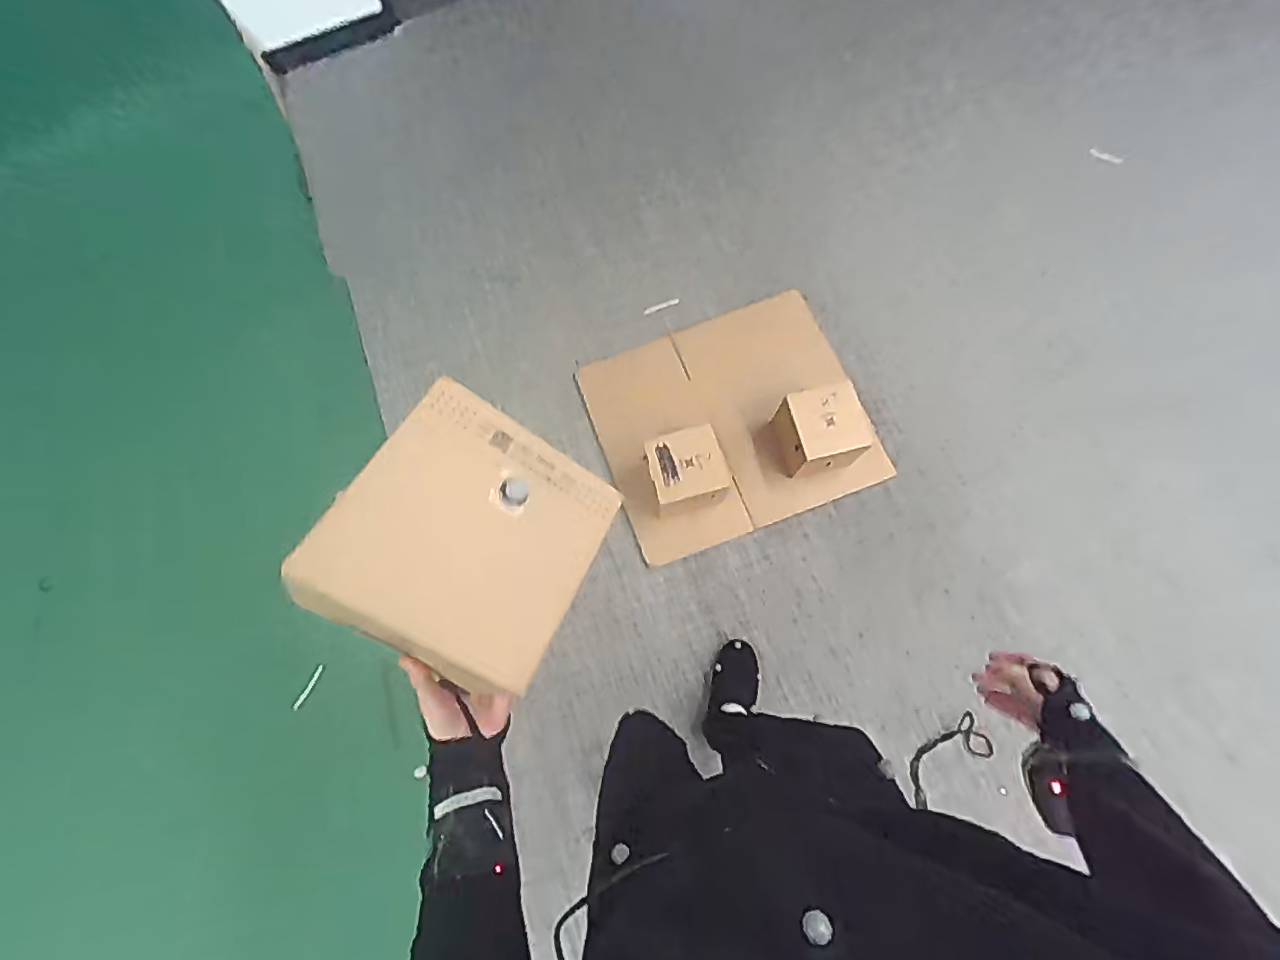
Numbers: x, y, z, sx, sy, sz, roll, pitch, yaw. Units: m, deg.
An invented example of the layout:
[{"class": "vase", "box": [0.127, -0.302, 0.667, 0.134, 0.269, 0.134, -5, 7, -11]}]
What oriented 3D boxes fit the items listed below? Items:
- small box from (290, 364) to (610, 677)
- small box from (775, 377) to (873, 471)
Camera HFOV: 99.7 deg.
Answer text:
[{"class": "small box", "box": [-0.149, 0.043, 0.443, 0.168, 0.179, 0.176, 35, 57, -14]}, {"class": "small box", "box": [0.454, -0.130, 1.361, 0.168, 0.176, 0.179, -13, 74, -1]}]
